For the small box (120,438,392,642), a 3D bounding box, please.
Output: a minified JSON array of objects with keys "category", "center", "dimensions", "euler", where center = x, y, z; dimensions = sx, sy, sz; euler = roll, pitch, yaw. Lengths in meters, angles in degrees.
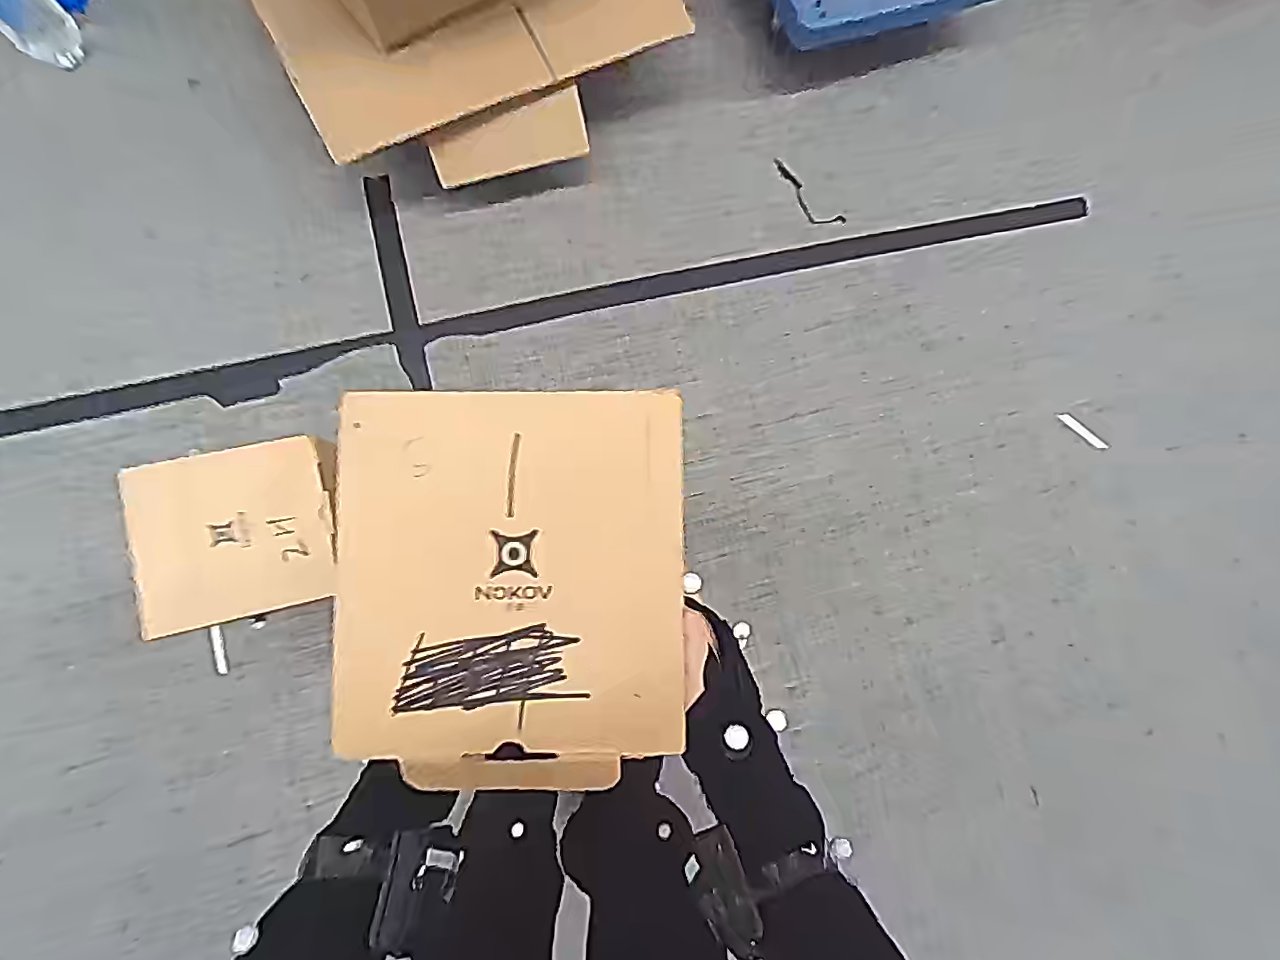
[{"category":"small box","center":[-0.398,0.064,0.591],"dimensions":[0.179,0.176,0.168],"euler":[-13,86,-11]}]
